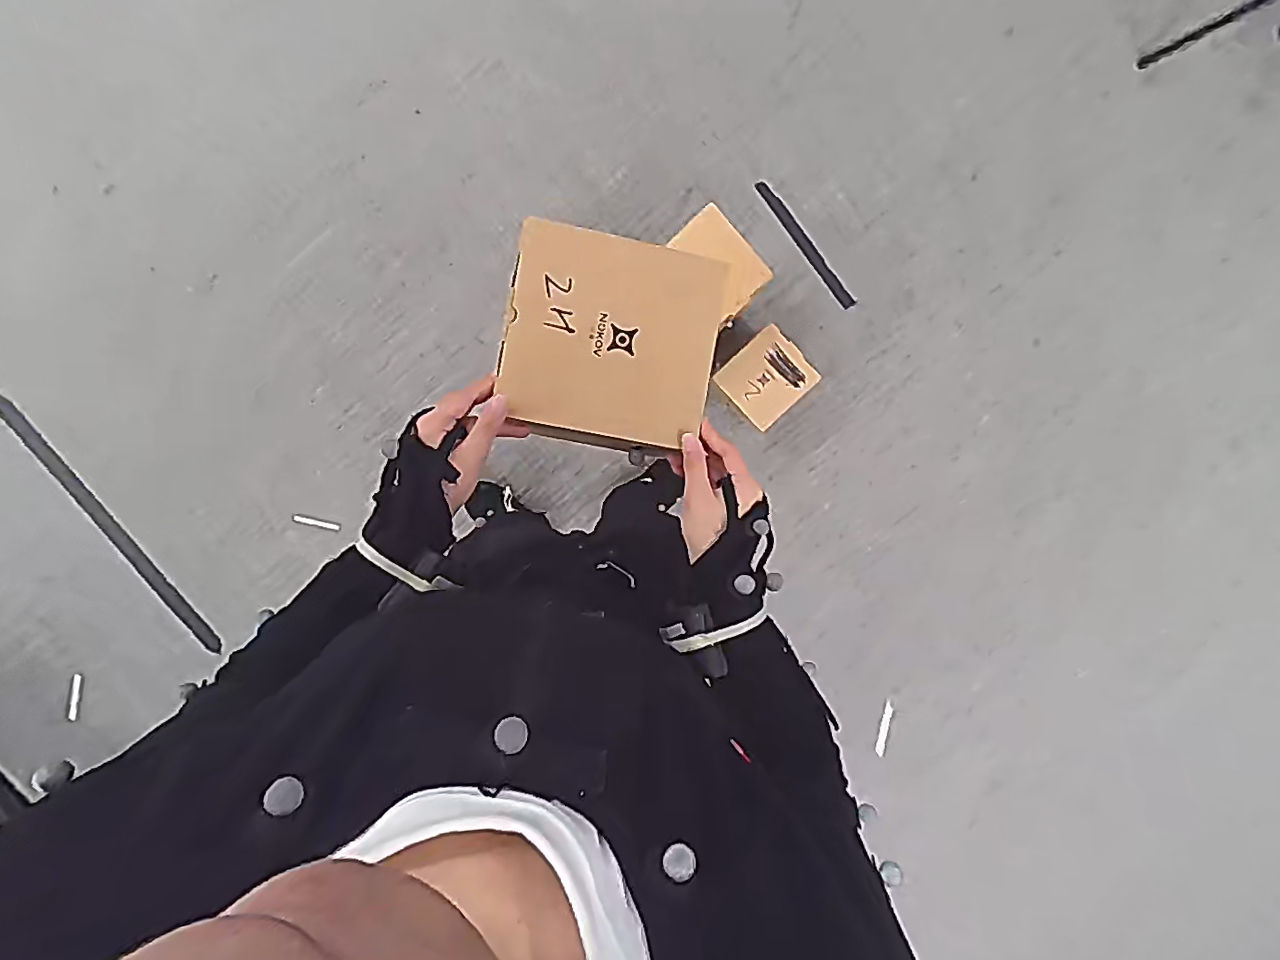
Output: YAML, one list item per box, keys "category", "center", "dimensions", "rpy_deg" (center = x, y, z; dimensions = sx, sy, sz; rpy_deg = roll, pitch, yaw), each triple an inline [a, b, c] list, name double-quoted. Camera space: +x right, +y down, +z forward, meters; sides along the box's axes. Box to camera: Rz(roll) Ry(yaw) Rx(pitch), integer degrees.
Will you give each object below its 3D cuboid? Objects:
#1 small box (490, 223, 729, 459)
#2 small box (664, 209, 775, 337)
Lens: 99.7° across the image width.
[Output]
- category: "small box"
  center: [-0.033, -0.115, 0.525]
  dimensions: [0.179, 0.176, 0.168]
  rpy_deg: [10, 89, -7]
- category: "small box"
  center: [0.131, -0.383, 1.065]
  dimensions: [0.168, 0.176, 0.179]
  rpy_deg: [-42, 95, 5]
